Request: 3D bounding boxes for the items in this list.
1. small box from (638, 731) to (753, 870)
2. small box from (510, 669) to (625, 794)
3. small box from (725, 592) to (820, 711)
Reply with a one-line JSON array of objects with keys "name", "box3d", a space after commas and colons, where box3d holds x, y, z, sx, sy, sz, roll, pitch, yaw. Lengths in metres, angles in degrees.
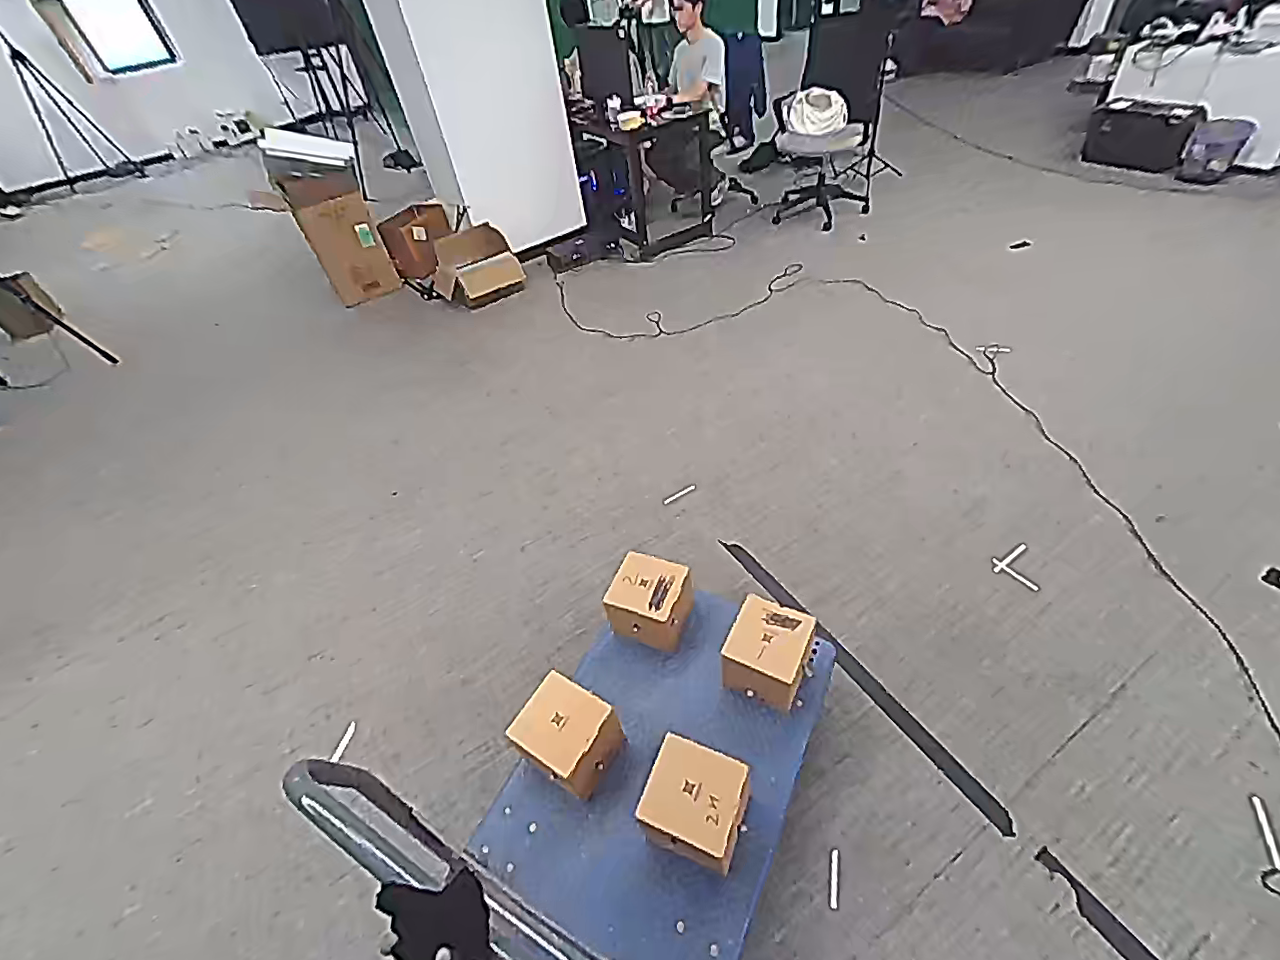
[{"name": "small box", "box3d": [0.117, 0.639, 1.076, 0.179, 0.176, 0.168, 13, 50, 23]}, {"name": "small box", "box3d": [-0.154, 0.564, 1.206, 0.179, 0.176, 0.168, 21, 53, 26]}, {"name": "small box", "box3d": [0.309, 0.403, 1.272, 0.168, 0.176, 0.179, 17, 53, 26]}]
